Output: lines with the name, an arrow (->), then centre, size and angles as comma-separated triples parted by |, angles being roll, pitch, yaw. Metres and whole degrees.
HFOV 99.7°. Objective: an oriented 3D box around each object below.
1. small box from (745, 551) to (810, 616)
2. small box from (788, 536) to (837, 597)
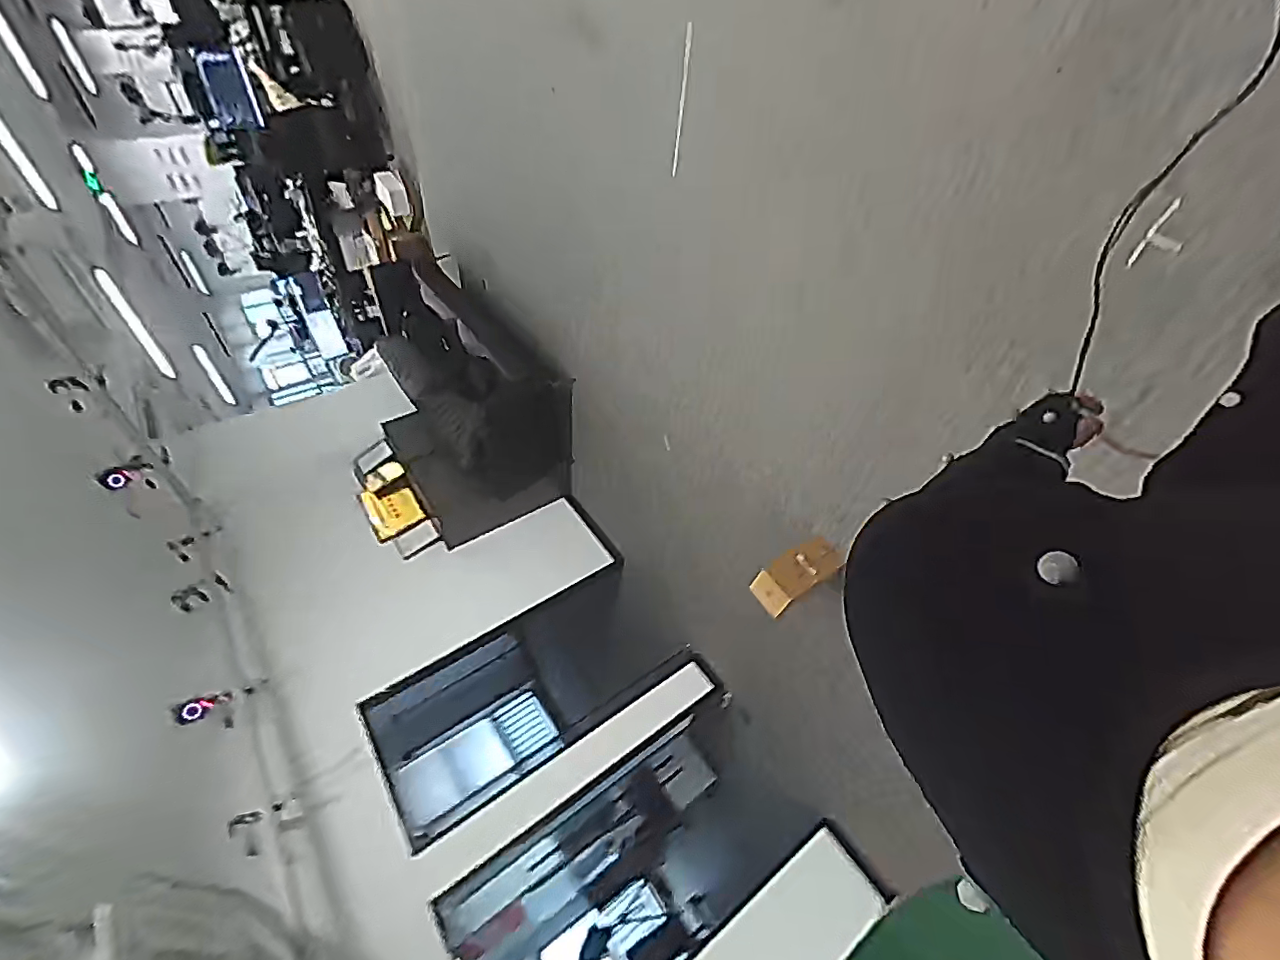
small box -> 0.567, 0.425, 2.228 | 0.168, 0.176, 0.179 | 52, 150, 25
small box -> 0.701, 0.367, 2.295 | 0.168, 0.176, 0.179 | 52, 150, 18
